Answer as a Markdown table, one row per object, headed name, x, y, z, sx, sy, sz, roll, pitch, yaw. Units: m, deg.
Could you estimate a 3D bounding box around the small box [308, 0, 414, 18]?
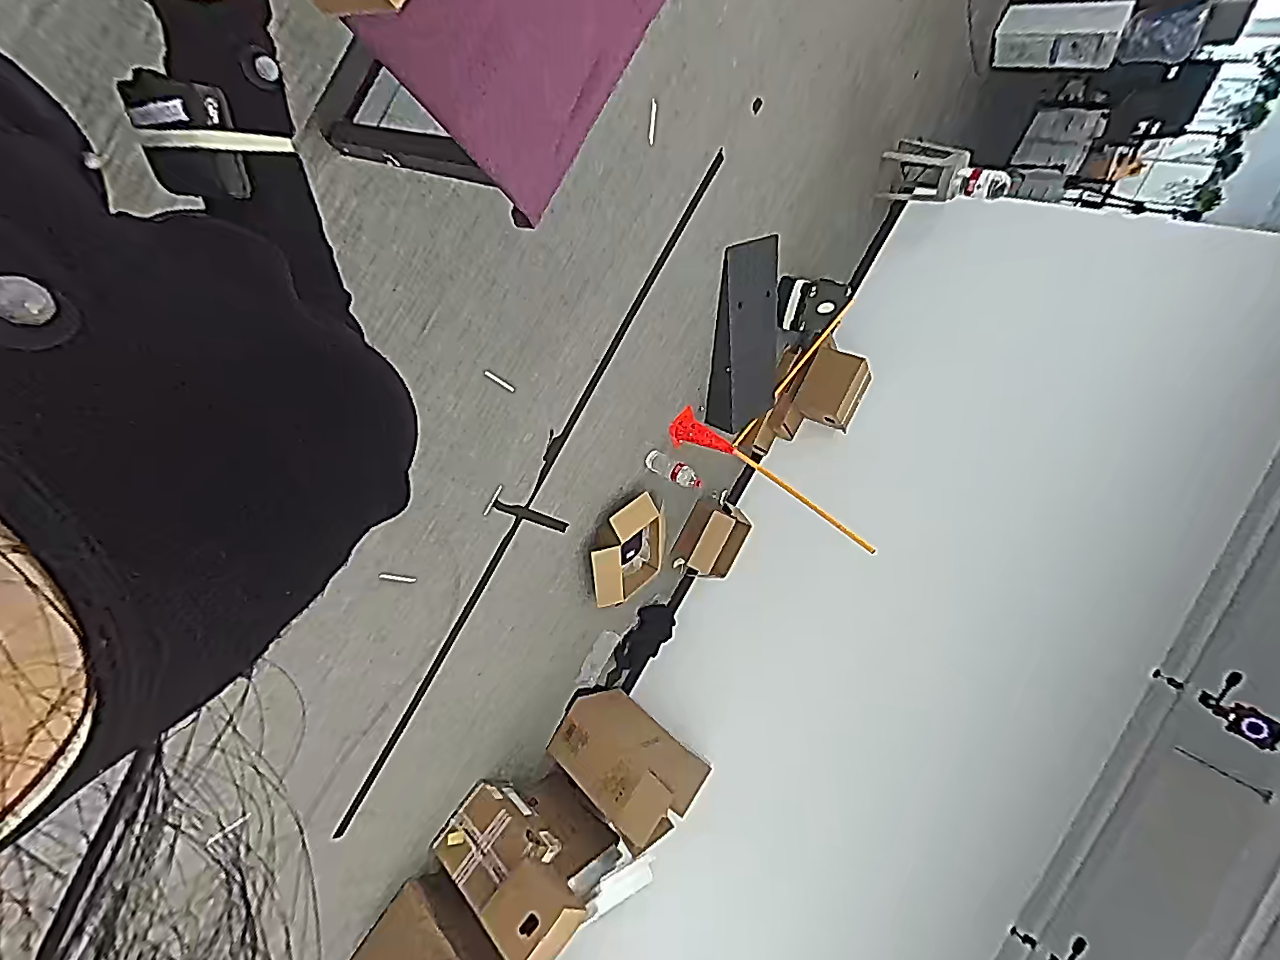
| name | x | y | z | sx | sy | sz | roll | pitch | yaw |
| --- | --- | --- | --- | --- | --- | --- | --- | --- | --- |
| small box | -0.278 | -0.572 | 0.490 | 0.179 | 0.176 | 0.168 | -59 | 147 | 0 |
